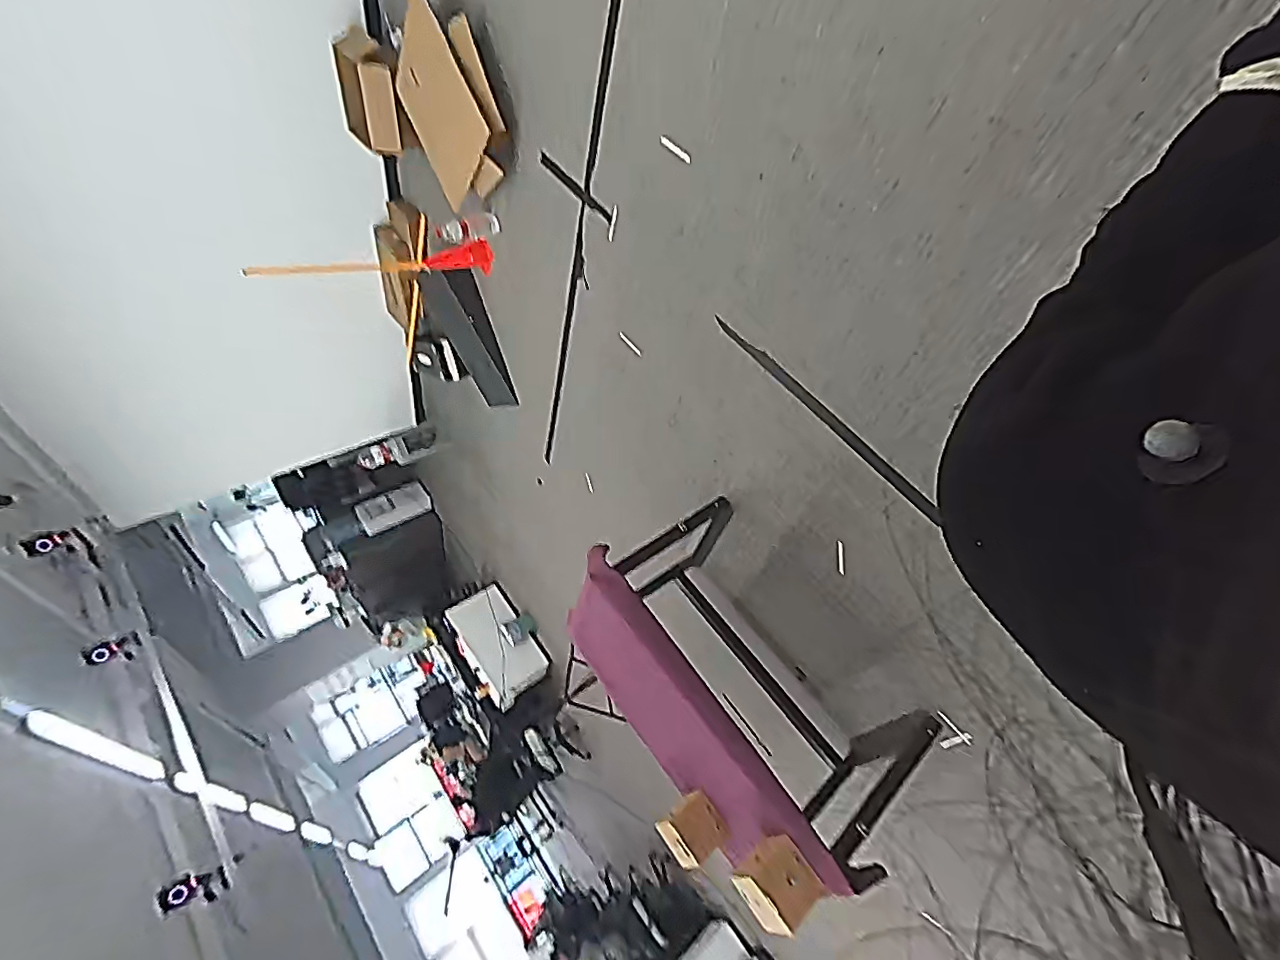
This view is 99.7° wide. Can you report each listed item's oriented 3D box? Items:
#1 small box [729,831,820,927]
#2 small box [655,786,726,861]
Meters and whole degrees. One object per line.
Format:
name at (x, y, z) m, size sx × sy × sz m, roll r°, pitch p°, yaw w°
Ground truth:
small box at (0.405, 1.182, 1.613) m, size 0.168 × 0.176 × 0.179 m, roll 50°, pitch 146°, yaw 19°
small box at (0.188, 1.249, 1.971) m, size 0.168 × 0.176 × 0.179 m, roll 50°, pitch 146°, yaw 18°
